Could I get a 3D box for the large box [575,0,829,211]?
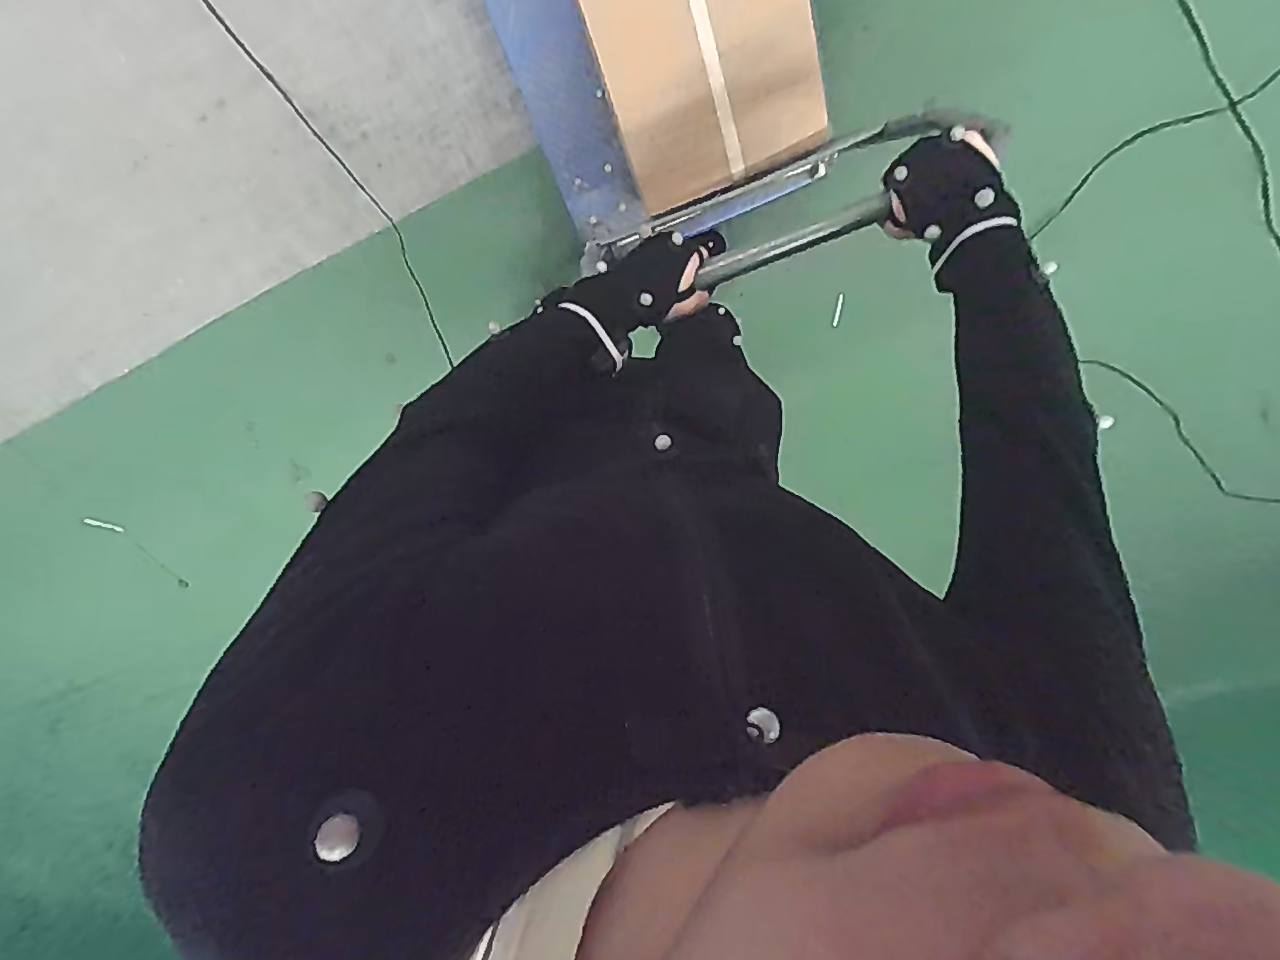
[{"bbox_3d":[0.086,-0.735,0.923,0.320,0.320,0.408,-20,119,8],"label":"large box"}]
